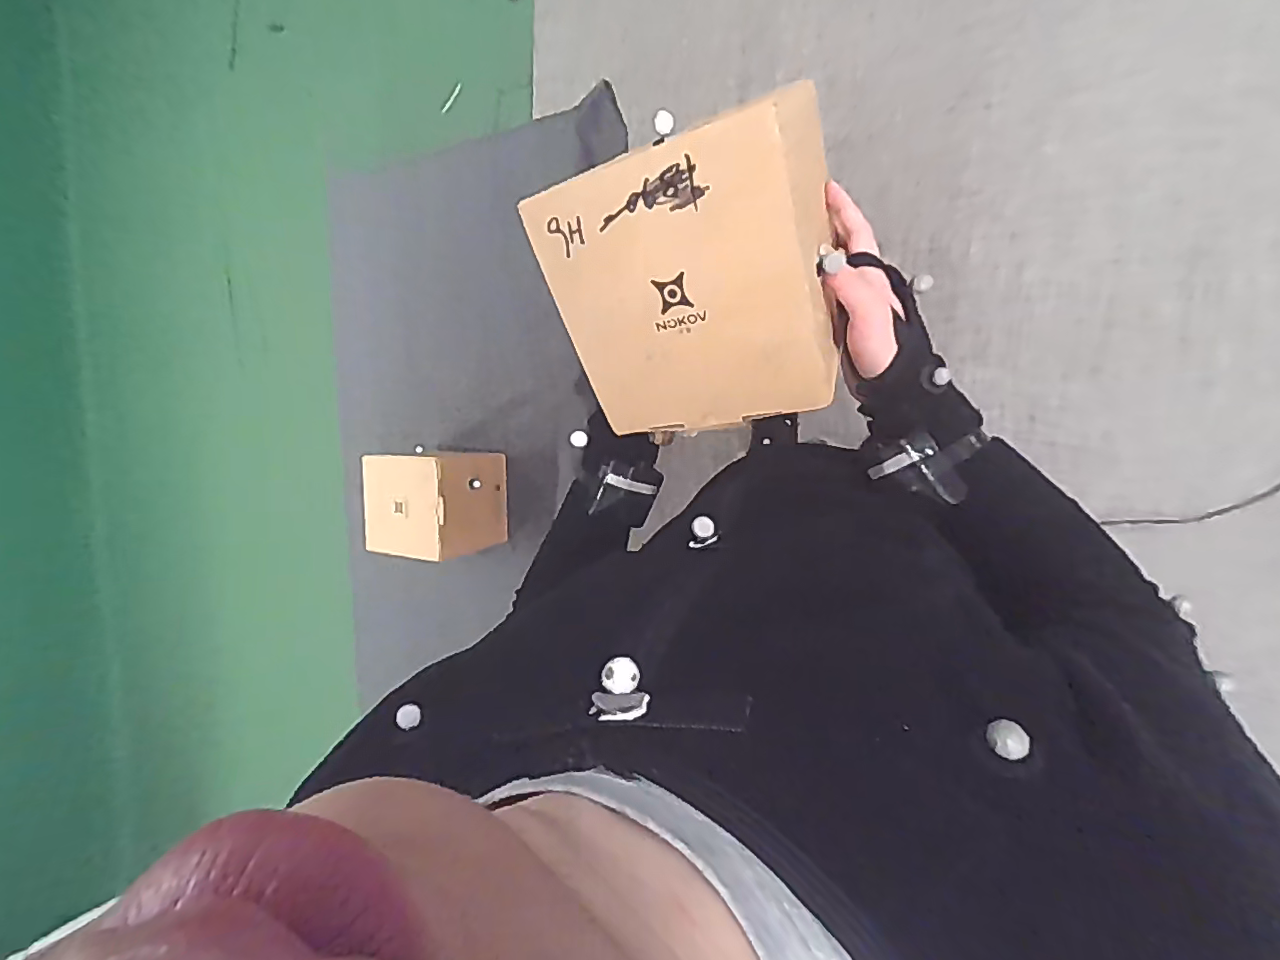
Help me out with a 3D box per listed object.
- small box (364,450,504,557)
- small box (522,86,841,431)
[{"bbox_3d":[-0.359,0.032,0.967,0.179,0.176,0.168,3,96,26],"label":"small box"},{"bbox_3d":[0.050,-0.160,0.404,0.168,0.176,0.179,-5,125,27],"label":"small box"}]
